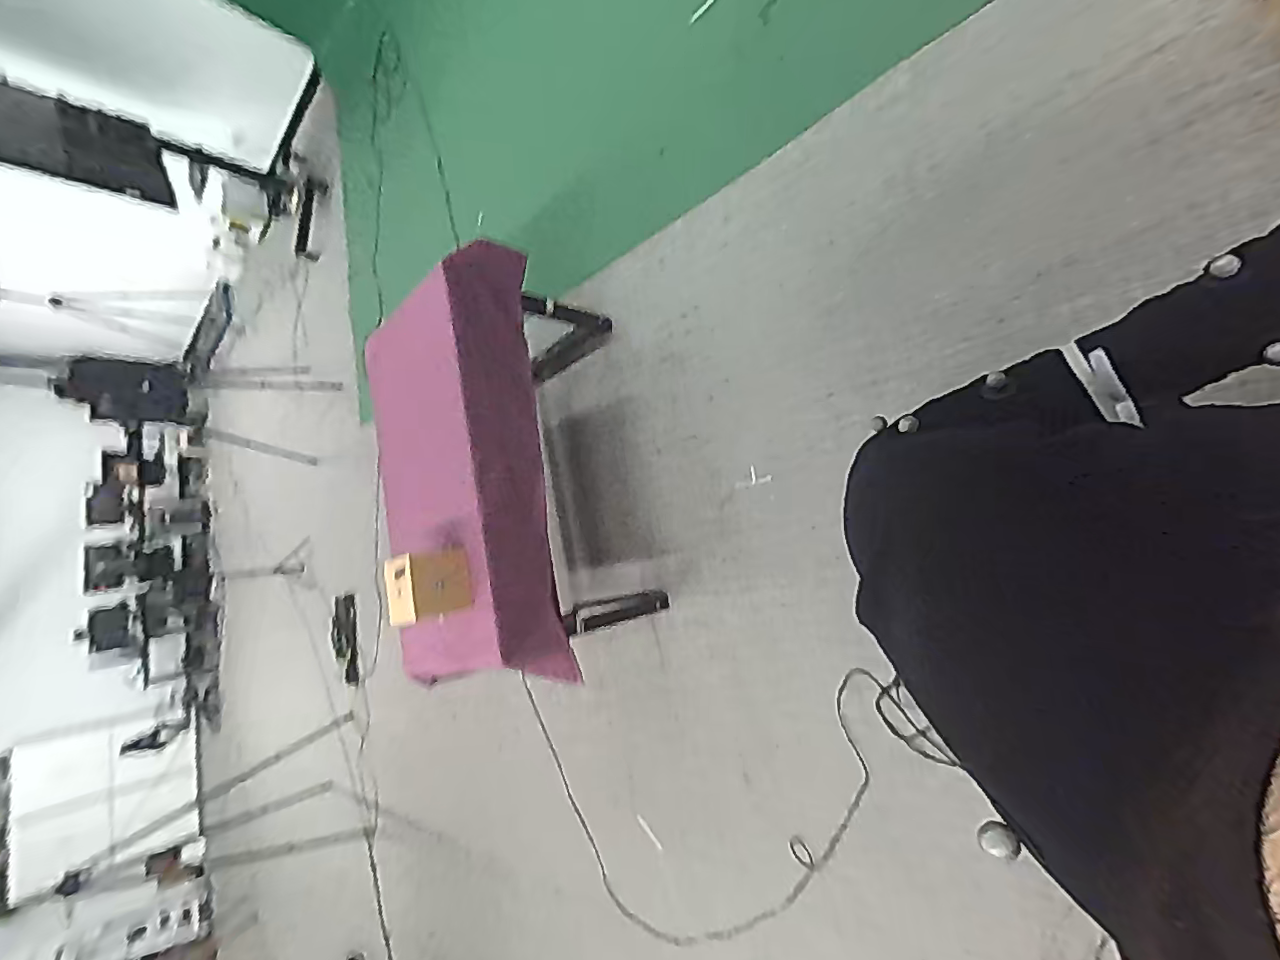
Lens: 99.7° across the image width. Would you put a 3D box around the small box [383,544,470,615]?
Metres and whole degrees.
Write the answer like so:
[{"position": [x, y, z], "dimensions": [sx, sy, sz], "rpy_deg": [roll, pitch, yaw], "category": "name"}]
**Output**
[{"position": [-0.603, 0.278, 1.529], "dimensions": [0.168, 0.176, 0.179], "rpy_deg": [-17, 79, 41], "category": "small box"}]
